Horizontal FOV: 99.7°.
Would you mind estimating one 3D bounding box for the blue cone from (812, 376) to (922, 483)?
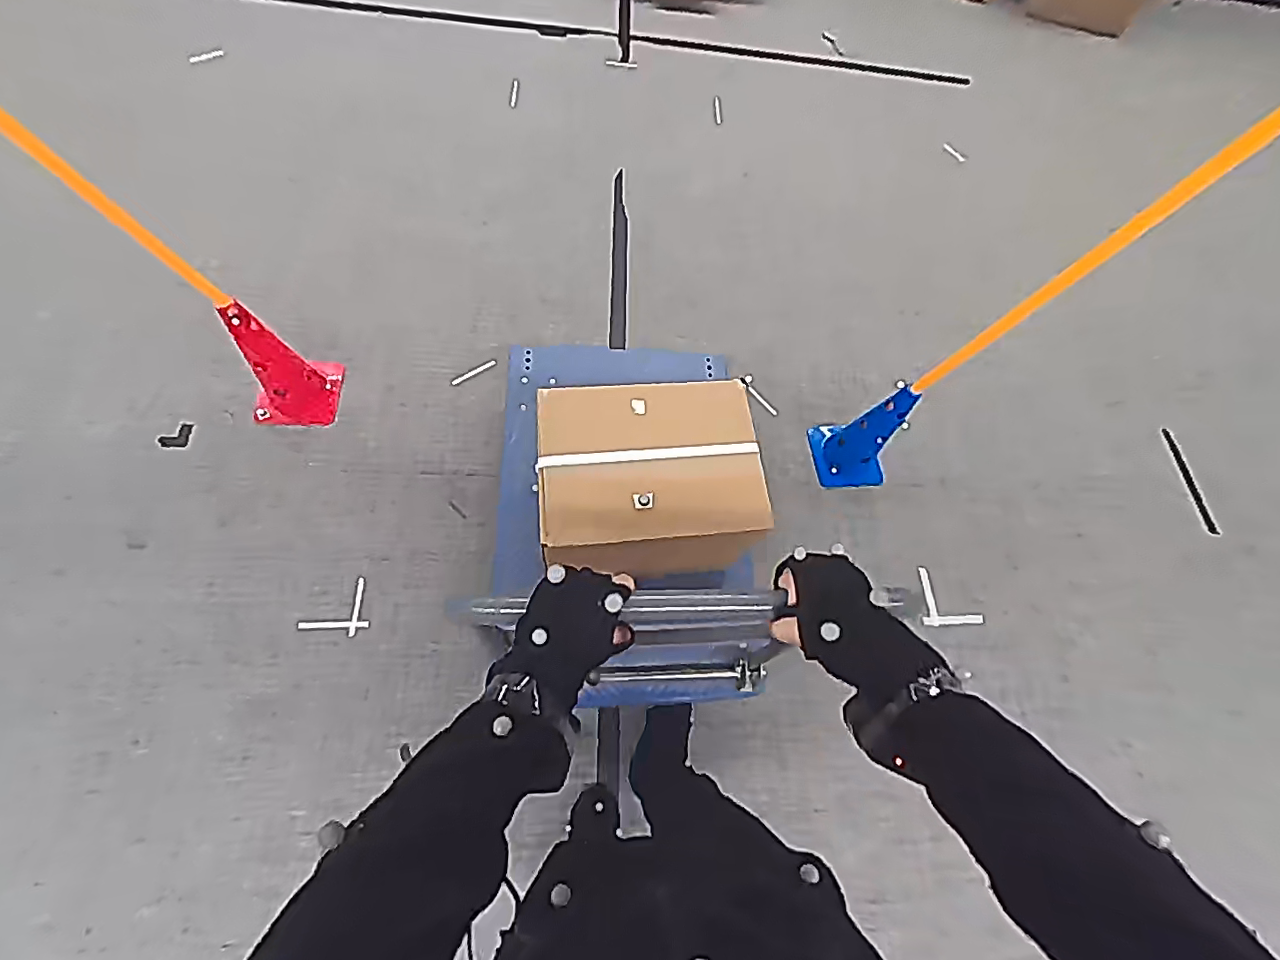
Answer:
[{"bbox_3d":[0.634,-0.147,1.448,0.193,0.380,0.192,-1,66,-9],"label":"blue cone"}]
